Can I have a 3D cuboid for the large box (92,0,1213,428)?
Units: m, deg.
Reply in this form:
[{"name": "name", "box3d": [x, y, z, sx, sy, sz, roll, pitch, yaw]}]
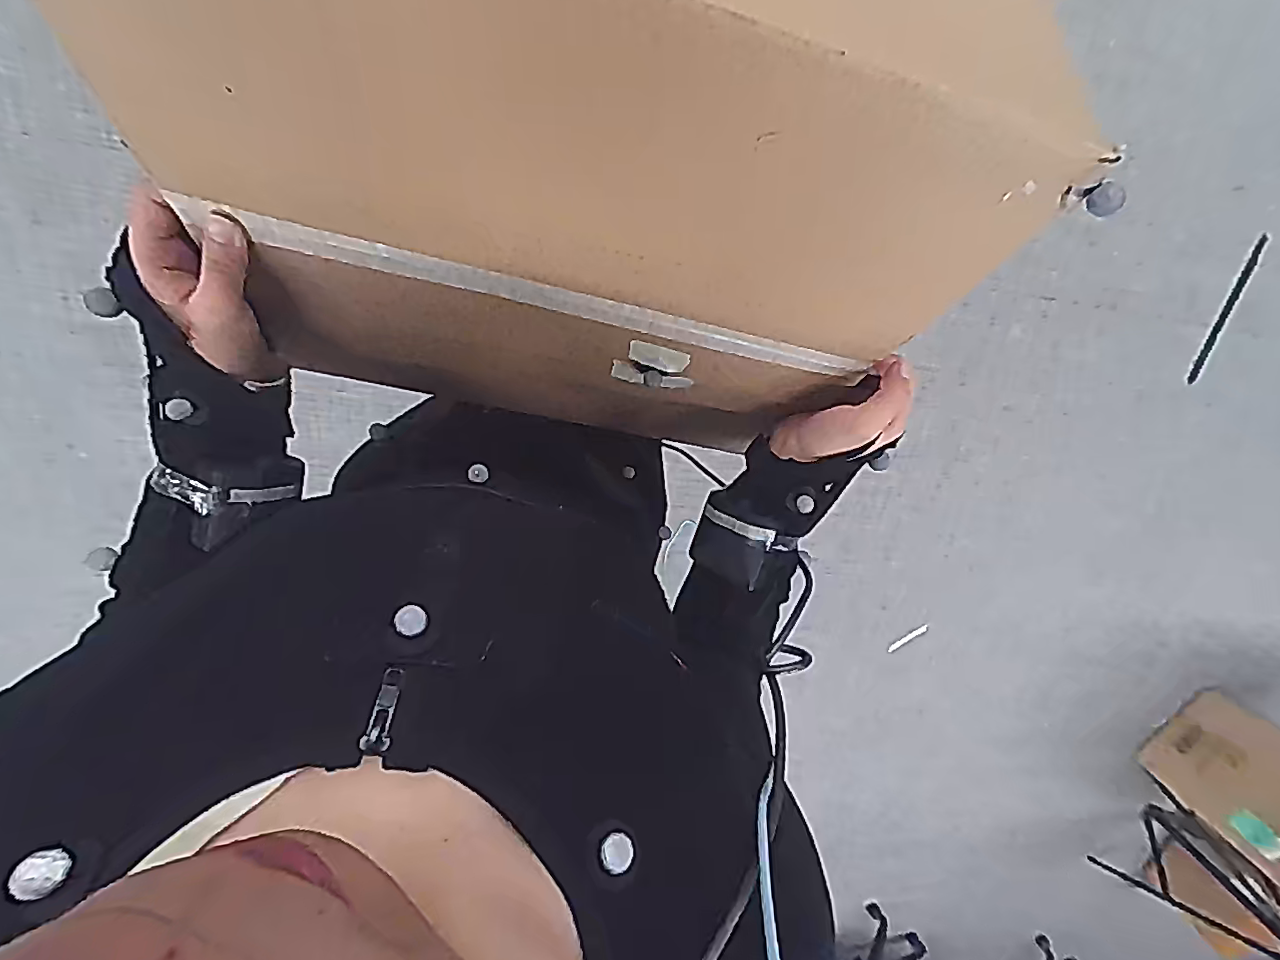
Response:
[{"name": "large box", "box3d": [-0.016, -0.265, 0.343, 0.408, 0.320, 0.320, 9, 68, -13]}]
